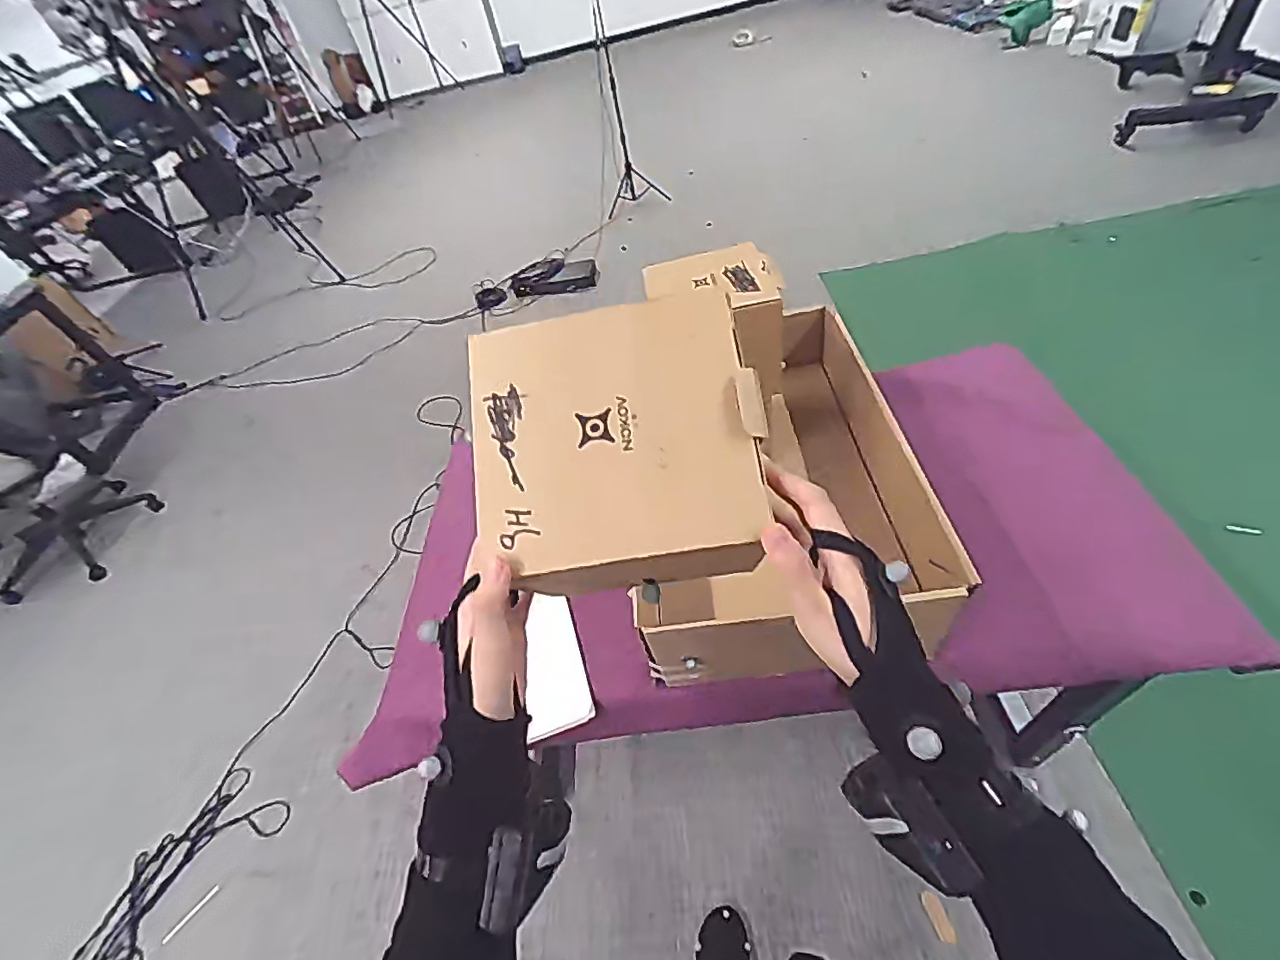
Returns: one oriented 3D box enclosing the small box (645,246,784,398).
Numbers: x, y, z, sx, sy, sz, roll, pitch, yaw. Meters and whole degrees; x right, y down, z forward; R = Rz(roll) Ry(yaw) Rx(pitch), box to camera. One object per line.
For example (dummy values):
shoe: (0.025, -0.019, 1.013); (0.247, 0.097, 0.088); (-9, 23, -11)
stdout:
small box: (0.112, -0.226, 0.830); (0.179, 0.176, 0.168); (-11, 48, 4)

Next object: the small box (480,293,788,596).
small box: (-0.004, -0.010, 0.404); (0.179, 0.176, 0.168); (-8, 72, 3)
